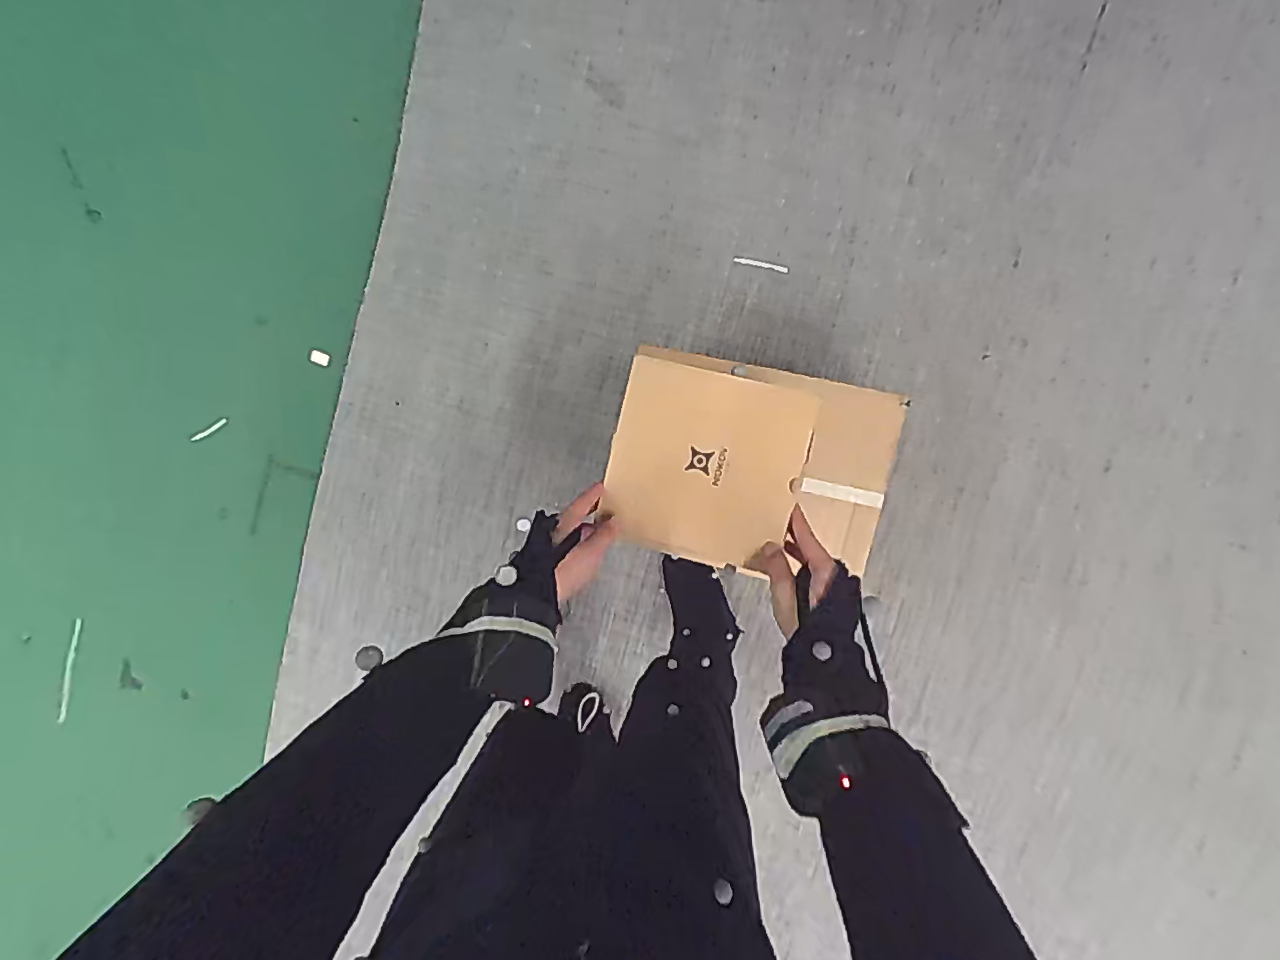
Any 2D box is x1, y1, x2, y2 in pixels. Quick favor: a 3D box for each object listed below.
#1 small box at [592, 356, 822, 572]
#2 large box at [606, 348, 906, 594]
[{"bbox_3d":[0.070,-0.015,0.569,0.179,0.176,0.168,15,92,8],"label":"small box"},{"bbox_3d":[0.188,-0.024,0.968,0.408,0.320,0.320,13,96,9],"label":"large box"}]
